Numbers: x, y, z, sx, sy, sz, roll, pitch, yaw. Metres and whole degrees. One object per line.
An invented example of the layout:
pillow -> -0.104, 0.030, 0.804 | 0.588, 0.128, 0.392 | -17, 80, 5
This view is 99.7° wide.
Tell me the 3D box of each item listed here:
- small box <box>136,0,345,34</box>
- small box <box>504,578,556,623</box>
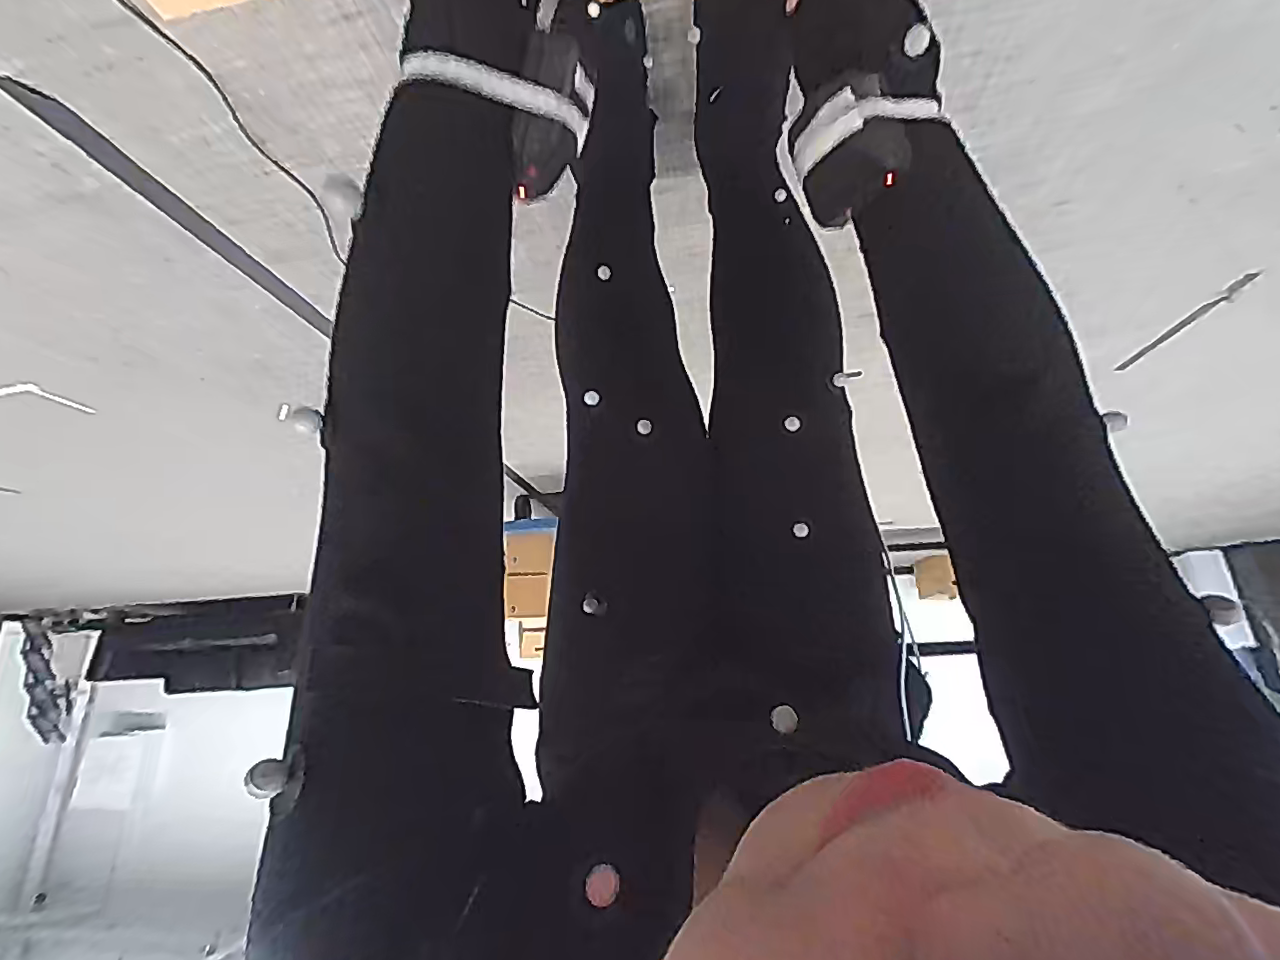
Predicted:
small box -> -0.322, -0.475, 0.379 | 0.168, 0.176, 0.179 | -4, 162, 7
small box -> -0.442, 0.490, 2.192 | 0.179, 0.176, 0.168 | -2, 163, 3
